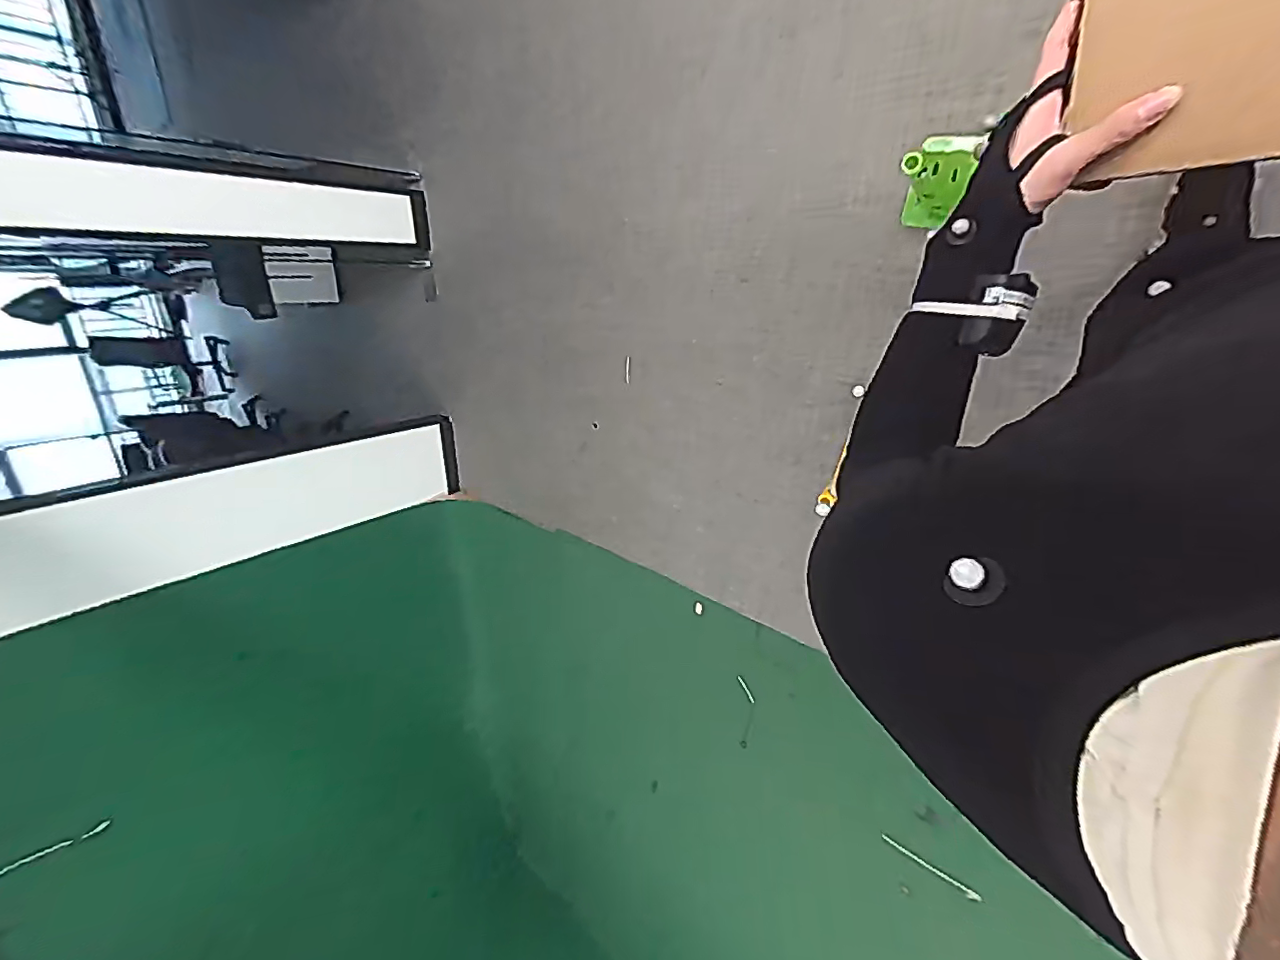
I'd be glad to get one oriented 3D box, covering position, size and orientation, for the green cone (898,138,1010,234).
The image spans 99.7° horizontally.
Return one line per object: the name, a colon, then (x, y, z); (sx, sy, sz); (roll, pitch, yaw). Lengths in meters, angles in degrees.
green cone: (0.653, -0.673, 1.207); (0.200, 0.368, 0.202); (25, 122, 35)
